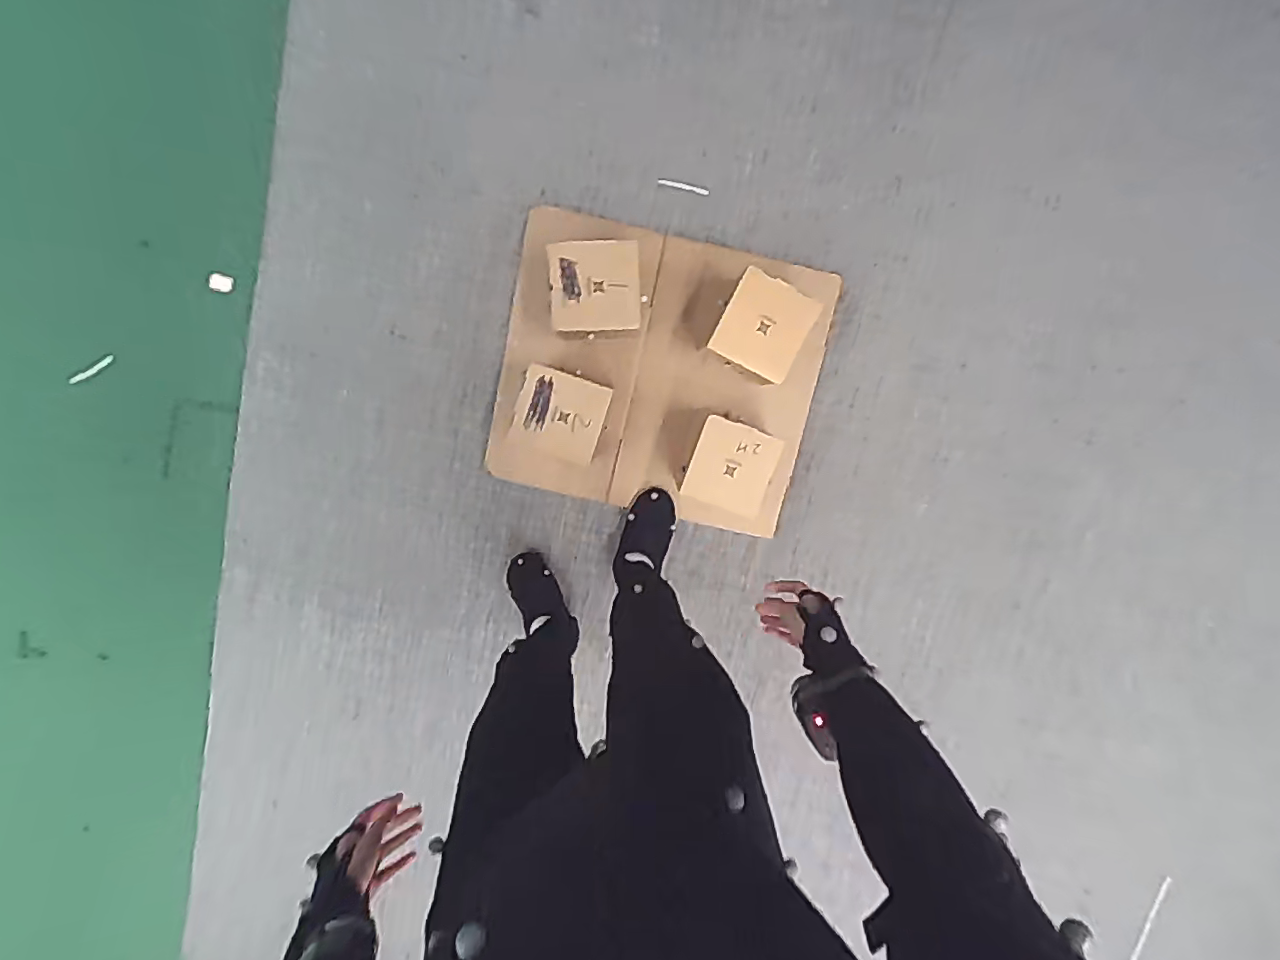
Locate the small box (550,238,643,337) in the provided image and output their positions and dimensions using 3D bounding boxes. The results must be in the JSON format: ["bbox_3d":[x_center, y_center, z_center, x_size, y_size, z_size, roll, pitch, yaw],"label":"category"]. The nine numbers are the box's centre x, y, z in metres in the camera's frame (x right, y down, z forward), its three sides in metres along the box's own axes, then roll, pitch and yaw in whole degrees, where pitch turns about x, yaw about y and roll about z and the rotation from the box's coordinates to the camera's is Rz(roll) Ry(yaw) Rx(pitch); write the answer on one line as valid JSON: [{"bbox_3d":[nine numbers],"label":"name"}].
[{"bbox_3d":[-0.082,-0.387,1.109,0.179,0.176,0.168,-1,99,-1],"label":"small box"}]

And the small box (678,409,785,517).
[{"bbox_3d":[0.185,-0.043,1.158,0.168,0.176,0.179,20,98,-3],"label":"small box"}]

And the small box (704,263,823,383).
[{"bbox_3d":[0.243,-0.312,1.118,0.168,0.176,0.179,27,97,-4],"label":"small box"}]
